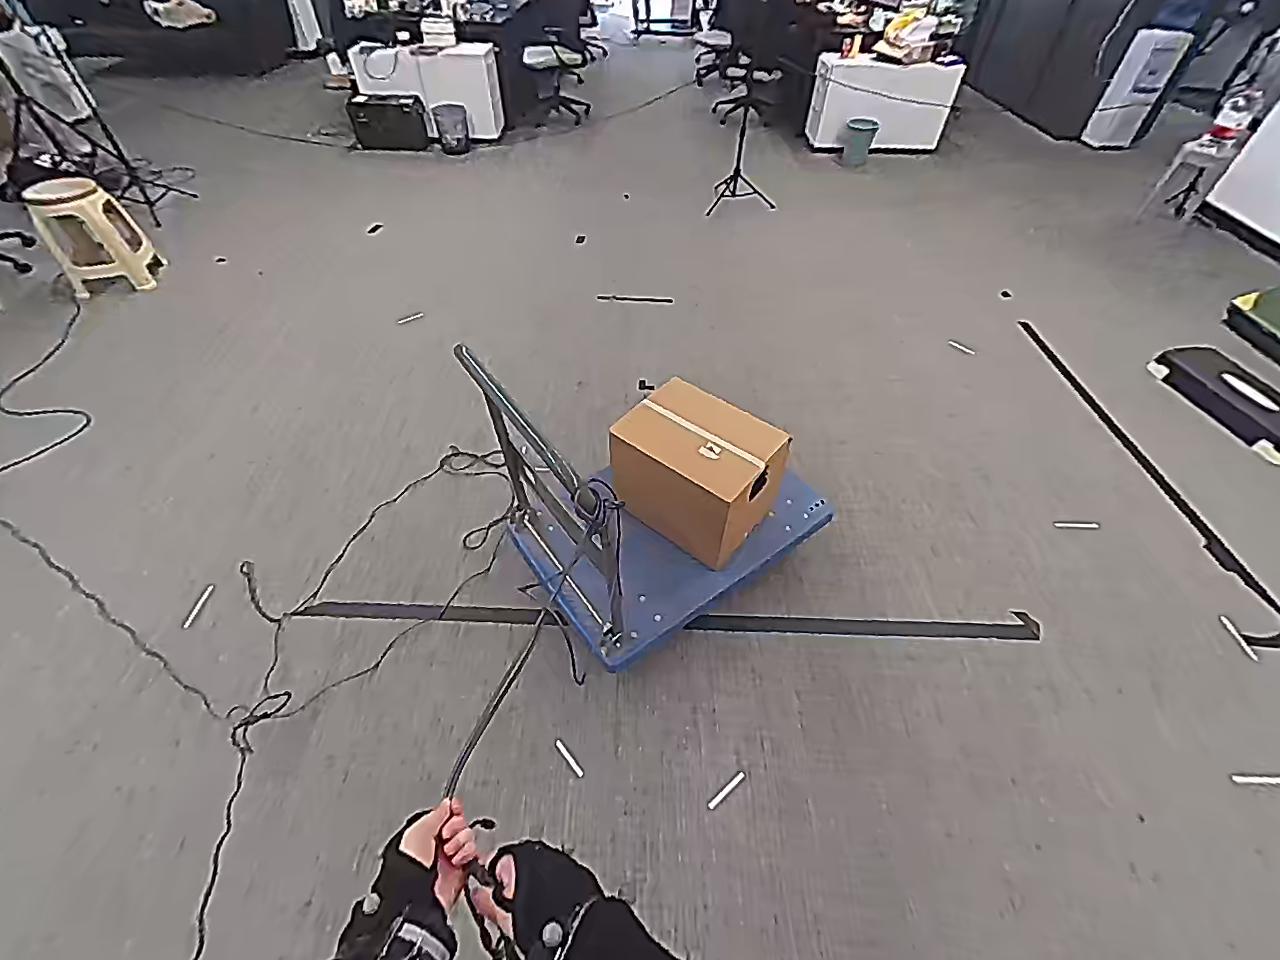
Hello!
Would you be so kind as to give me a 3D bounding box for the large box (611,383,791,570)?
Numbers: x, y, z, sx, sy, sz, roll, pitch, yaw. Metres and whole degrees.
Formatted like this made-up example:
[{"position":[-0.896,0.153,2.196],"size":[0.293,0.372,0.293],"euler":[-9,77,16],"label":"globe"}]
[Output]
[{"position":[0.160,-0.017,1.582],"size":[0.408,0.320,0.320],"euler":[32,56,24],"label":"large box"}]
